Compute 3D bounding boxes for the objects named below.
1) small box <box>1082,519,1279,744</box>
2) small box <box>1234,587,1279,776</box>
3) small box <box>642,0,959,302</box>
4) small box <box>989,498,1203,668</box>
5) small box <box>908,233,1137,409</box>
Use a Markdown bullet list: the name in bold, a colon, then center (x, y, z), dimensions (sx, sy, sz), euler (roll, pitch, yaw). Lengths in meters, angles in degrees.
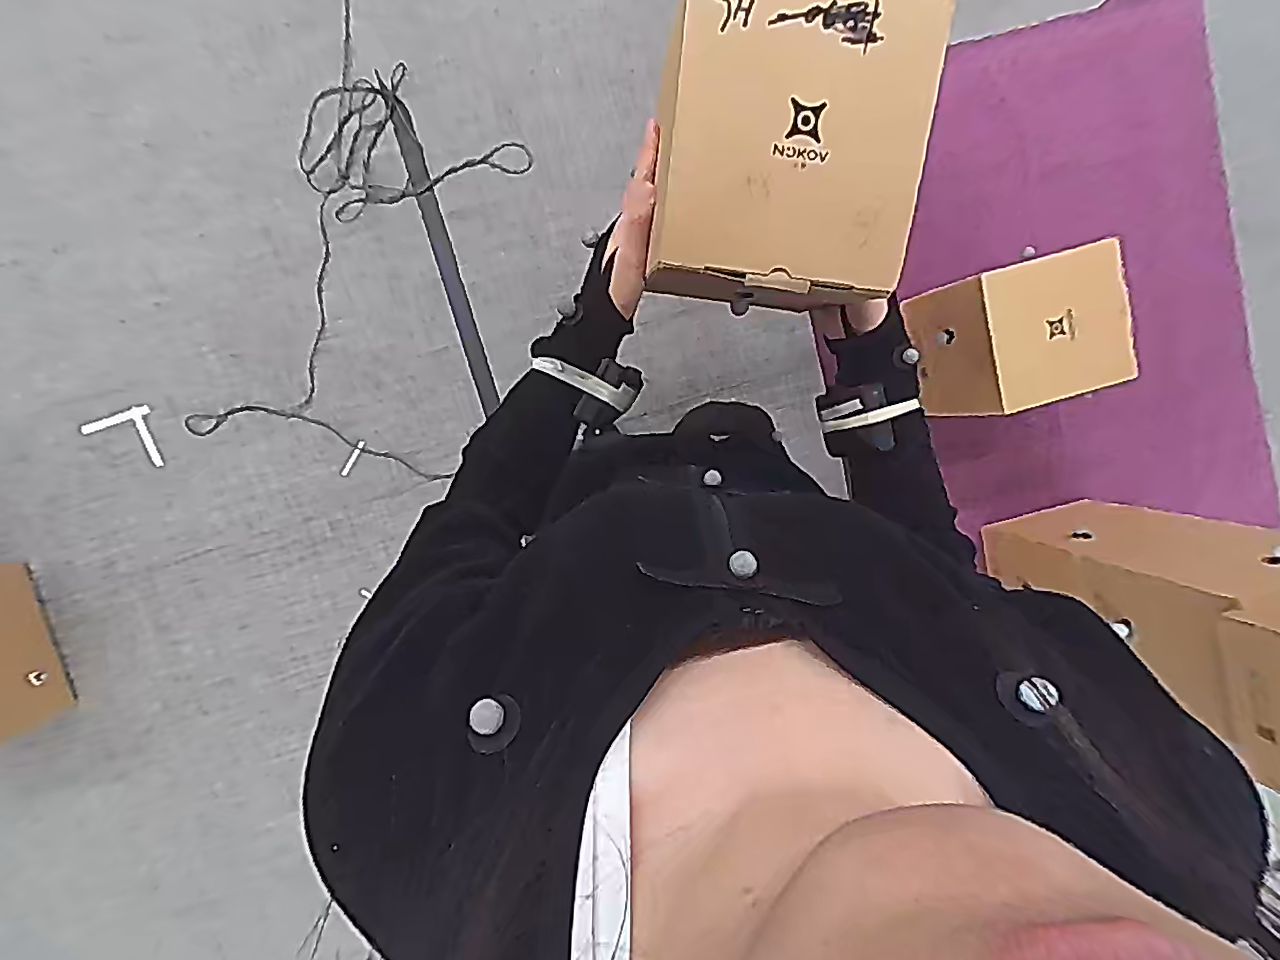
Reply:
- **small box**: center (0.640, 0.150, 0.588), dimensions (0.179, 0.176, 0.168), euler (-14, 97, -3)
- **small box**: center (0.634, 0.176, 0.427), dimensions (0.179, 0.176, 0.168), euler (-18, 98, -4)
- **small box**: center (0.096, -0.238, 0.414), dimensions (0.168, 0.176, 0.179), euler (5, 104, -7)
- **small box**: center (0.620, 0.130, 0.750), dimensions (0.179, 0.176, 0.168), euler (-14, 98, -4)
- **small box**: center (0.476, -0.191, 0.702), dimensions (0.179, 0.176, 0.168), euler (-16, 98, -4)
